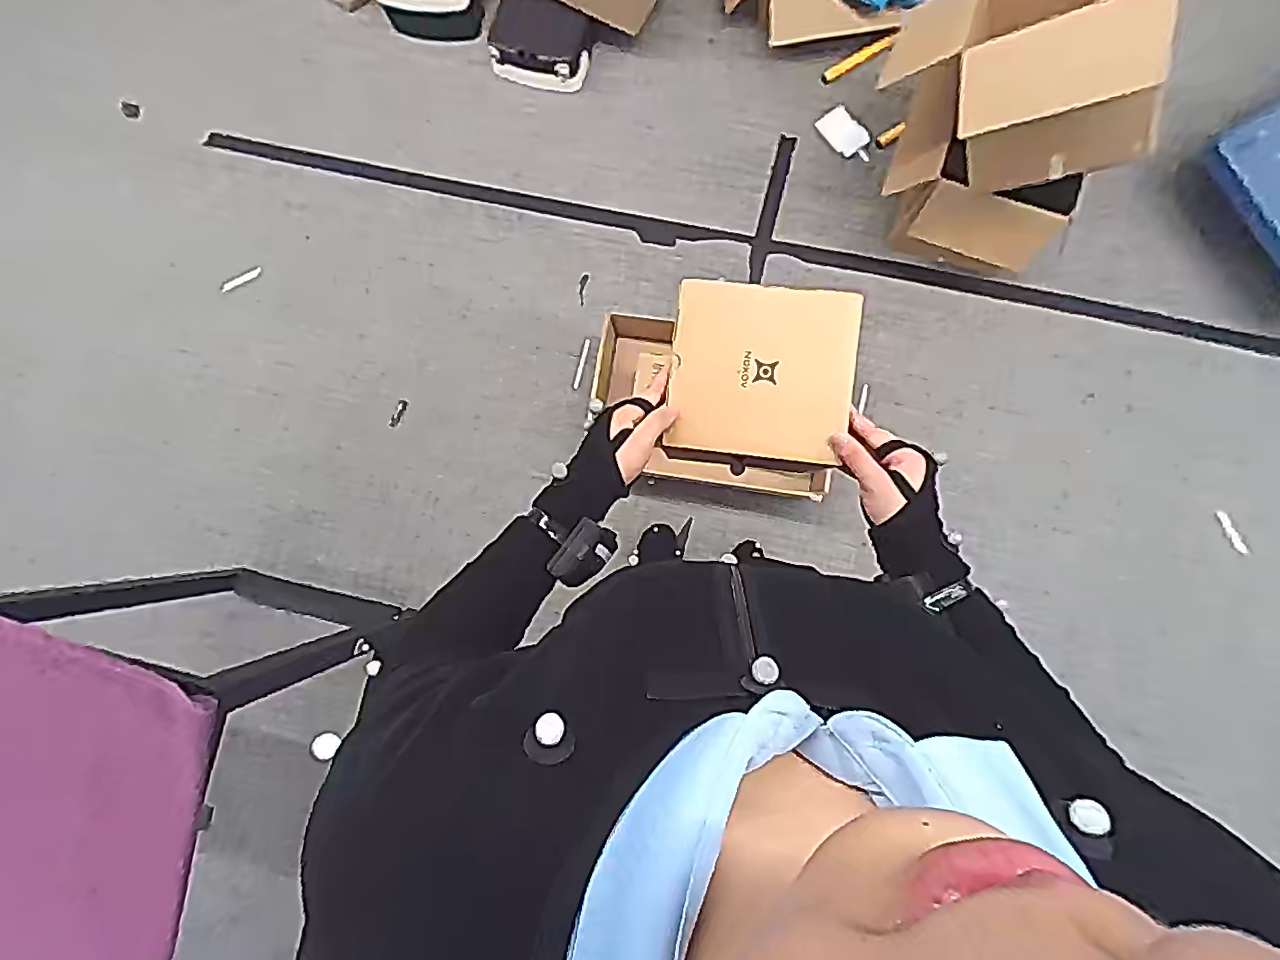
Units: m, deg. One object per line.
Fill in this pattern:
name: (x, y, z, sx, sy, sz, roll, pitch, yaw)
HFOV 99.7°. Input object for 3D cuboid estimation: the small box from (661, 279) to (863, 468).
small box: (0.122, -0.103, 0.594, 0.179, 0.176, 0.168, 6, 90, 6)
